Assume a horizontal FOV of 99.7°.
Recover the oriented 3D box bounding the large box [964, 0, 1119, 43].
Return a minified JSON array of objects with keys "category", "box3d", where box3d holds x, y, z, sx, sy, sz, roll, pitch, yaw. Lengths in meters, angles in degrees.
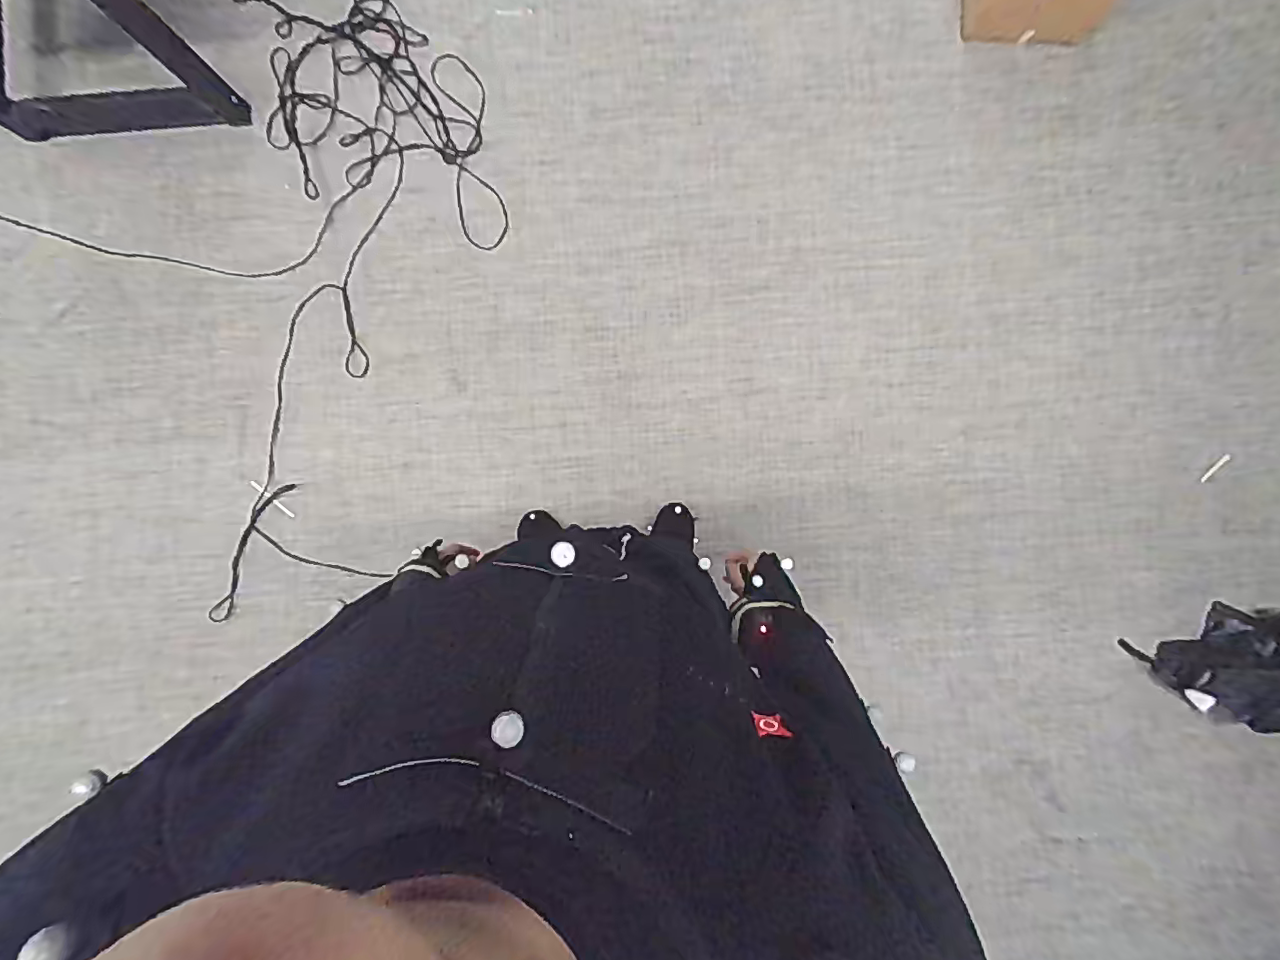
[{"category":"large box","box3d":[0.991,-1.336,1.253,0.320,0.320,0.408,1,91,0]}]
